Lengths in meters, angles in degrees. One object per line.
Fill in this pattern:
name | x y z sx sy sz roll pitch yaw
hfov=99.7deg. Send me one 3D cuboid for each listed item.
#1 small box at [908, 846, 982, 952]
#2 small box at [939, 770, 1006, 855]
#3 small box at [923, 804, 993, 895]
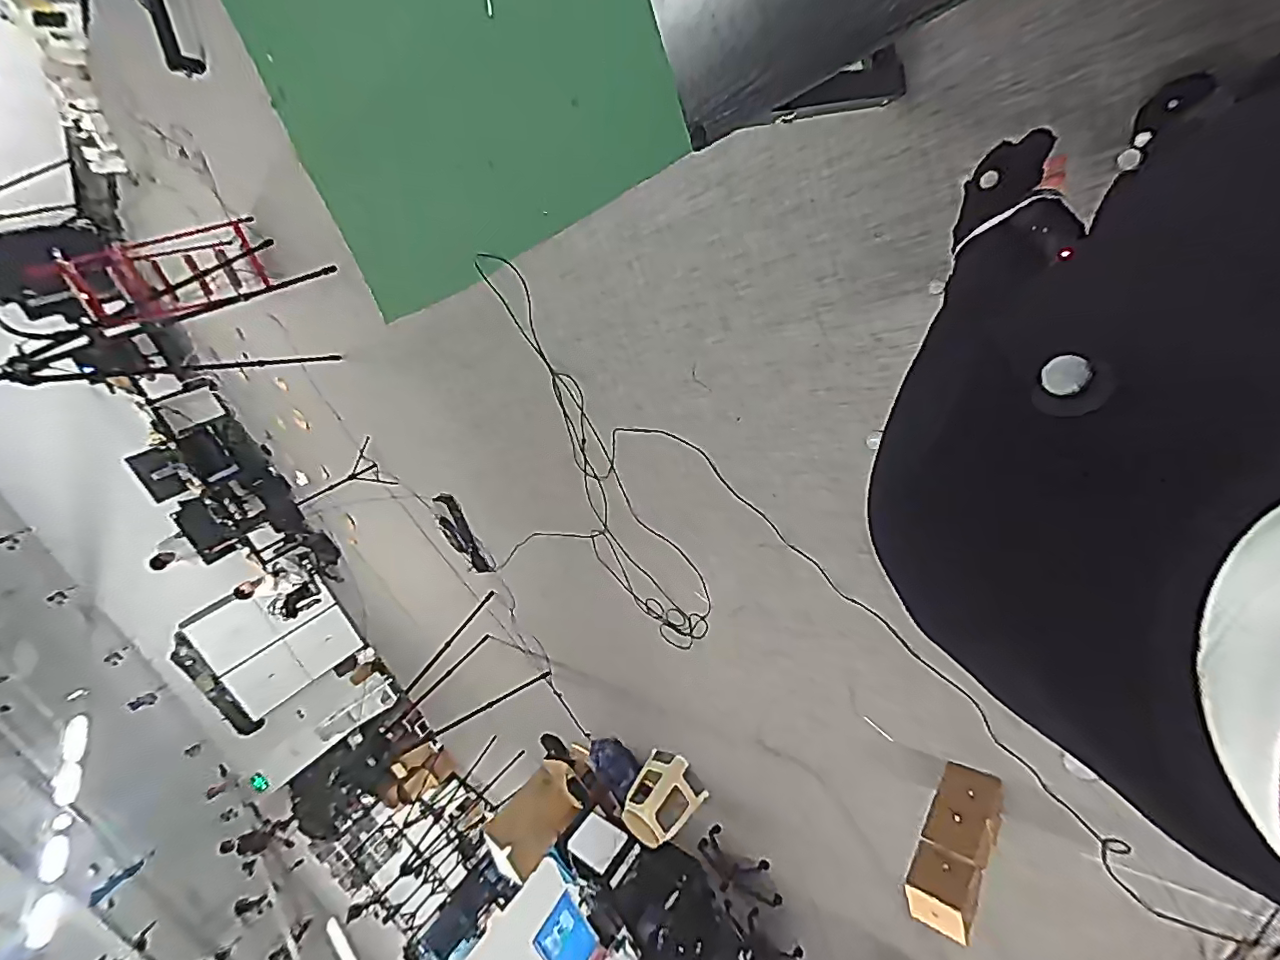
small box | 0.993 1.350 1.753 0.168 0.176 0.179 2 119 45
small box | 1.201 1.188 1.946 0.179 0.176 0.168 2 119 45
small box | 1.092 1.265 1.850 0.168 0.176 0.179 3 120 45
